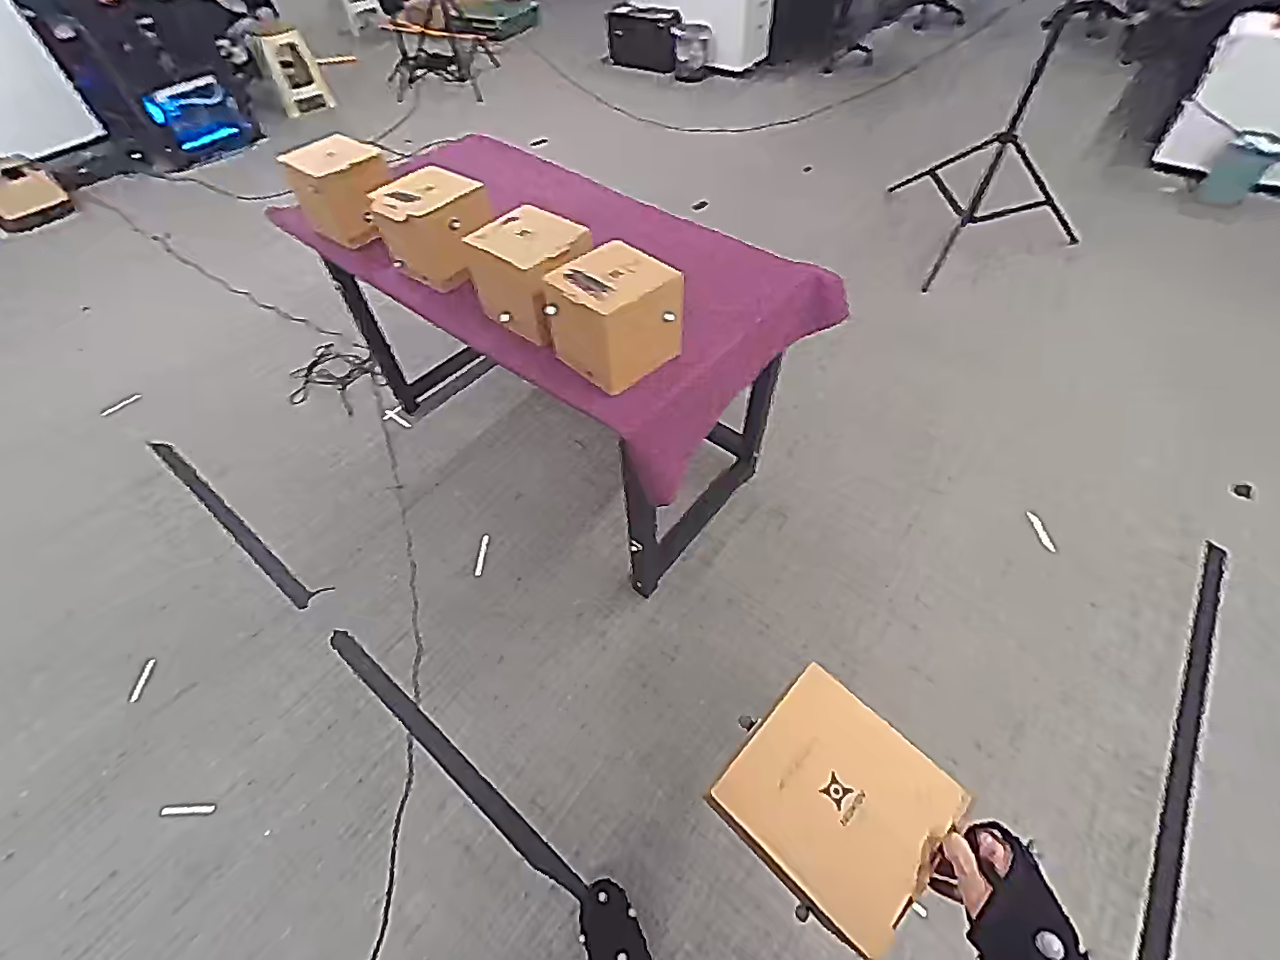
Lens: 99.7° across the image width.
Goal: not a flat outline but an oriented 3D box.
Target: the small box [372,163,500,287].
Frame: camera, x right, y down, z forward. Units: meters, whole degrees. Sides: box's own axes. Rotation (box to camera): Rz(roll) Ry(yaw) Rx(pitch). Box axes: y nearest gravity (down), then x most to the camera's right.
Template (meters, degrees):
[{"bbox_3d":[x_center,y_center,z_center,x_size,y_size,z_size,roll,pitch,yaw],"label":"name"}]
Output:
[{"bbox_3d":[-0.428,-0.547,1.167,0.168,0.176,0.179,30,59,22],"label":"small box"}]

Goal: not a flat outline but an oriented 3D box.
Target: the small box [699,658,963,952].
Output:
[{"bbox_3d":[0.180,0.320,0.562,0.179,0.176,0.168,38,67,22],"label":"small box"}]

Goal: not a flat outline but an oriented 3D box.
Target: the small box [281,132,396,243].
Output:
[{"bbox_3d":[-0.694,-0.692,1.287,0.179,0.176,0.168,31,60,22],"label":"small box"}]
